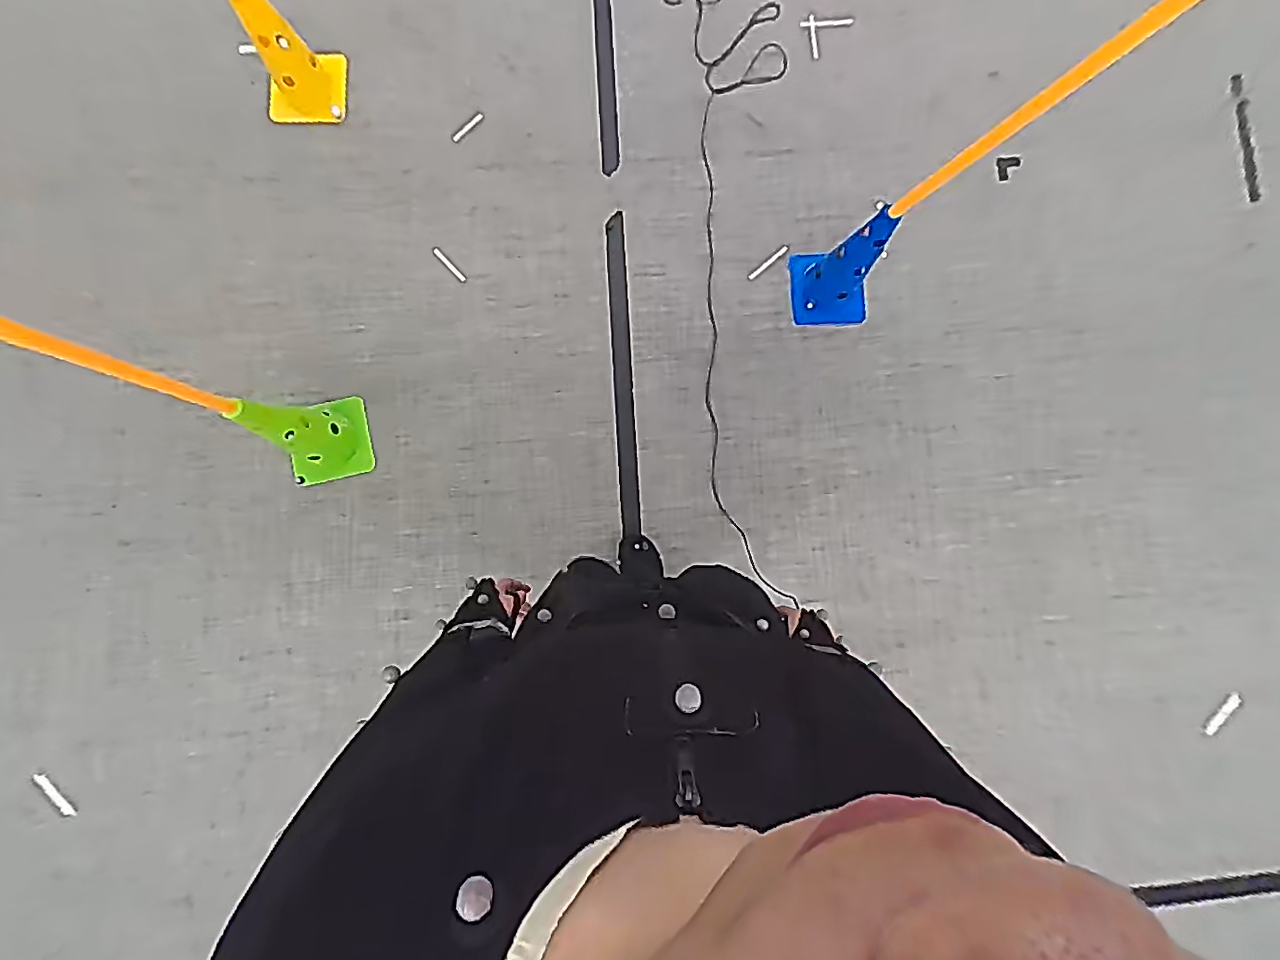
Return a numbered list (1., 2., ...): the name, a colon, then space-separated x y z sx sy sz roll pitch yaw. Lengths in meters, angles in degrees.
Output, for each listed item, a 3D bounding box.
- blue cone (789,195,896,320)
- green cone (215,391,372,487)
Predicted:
1. blue cone: 0.510 -0.545 1.304 0.193 0.380 0.192 -1 83 -3
2. green cone: -0.782 -0.120 1.195 0.200 0.368 0.202 -14 83 -4
